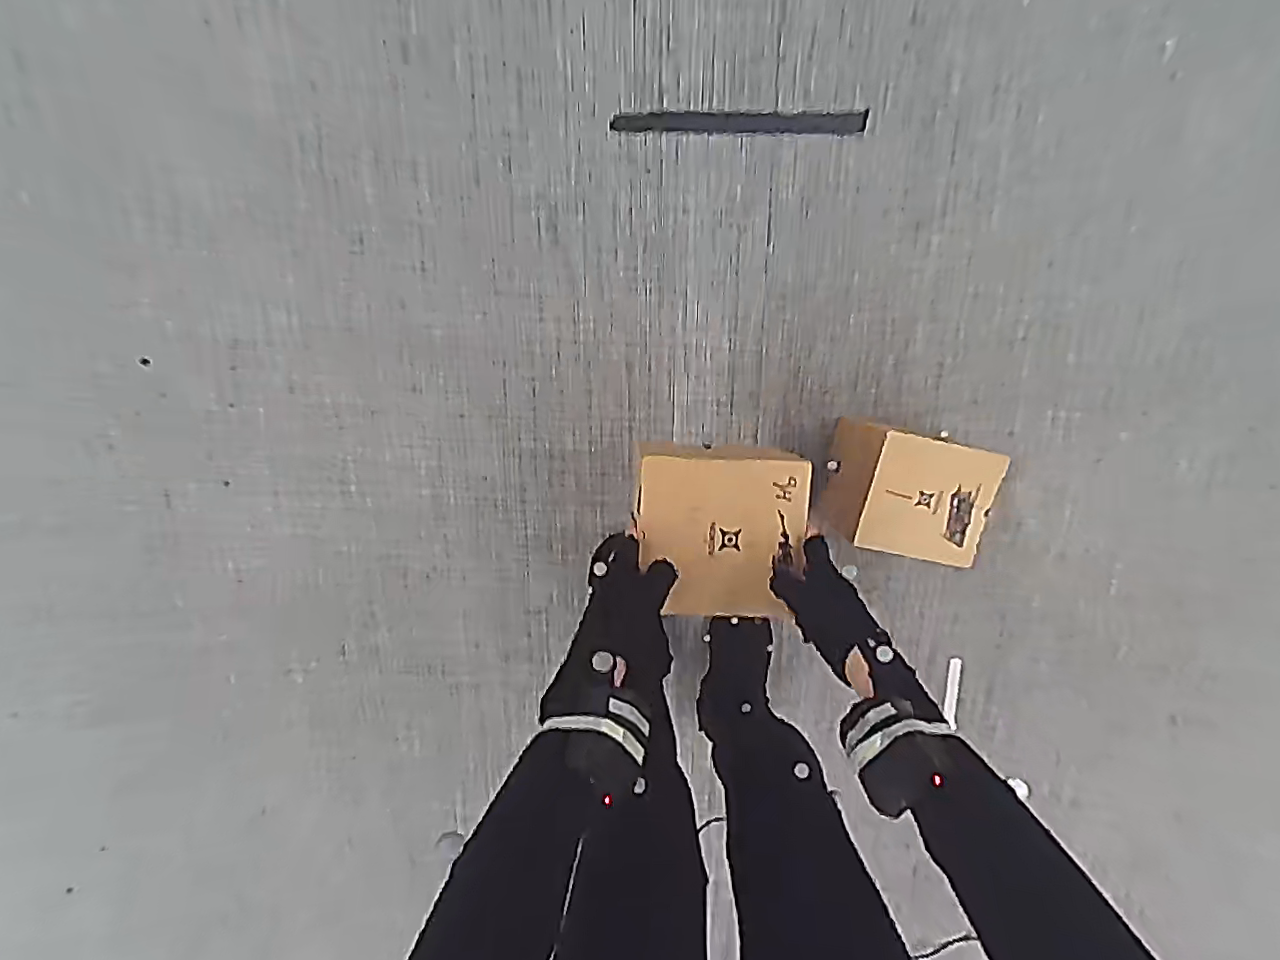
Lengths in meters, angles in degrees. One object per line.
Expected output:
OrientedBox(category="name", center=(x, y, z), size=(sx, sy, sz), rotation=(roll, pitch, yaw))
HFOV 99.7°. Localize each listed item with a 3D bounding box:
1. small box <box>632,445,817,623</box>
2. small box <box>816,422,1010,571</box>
OrientedBox(category="small box", center=(0.083, 0.050, 0.618), size=(0.179, 0.176, 0.168), rotation=(3, 98, -1))
OrientedBox(category="small box", center=(0.391, 0.015, 0.808), size=(0.179, 0.176, 0.168), rotation=(12, 102, -3))
